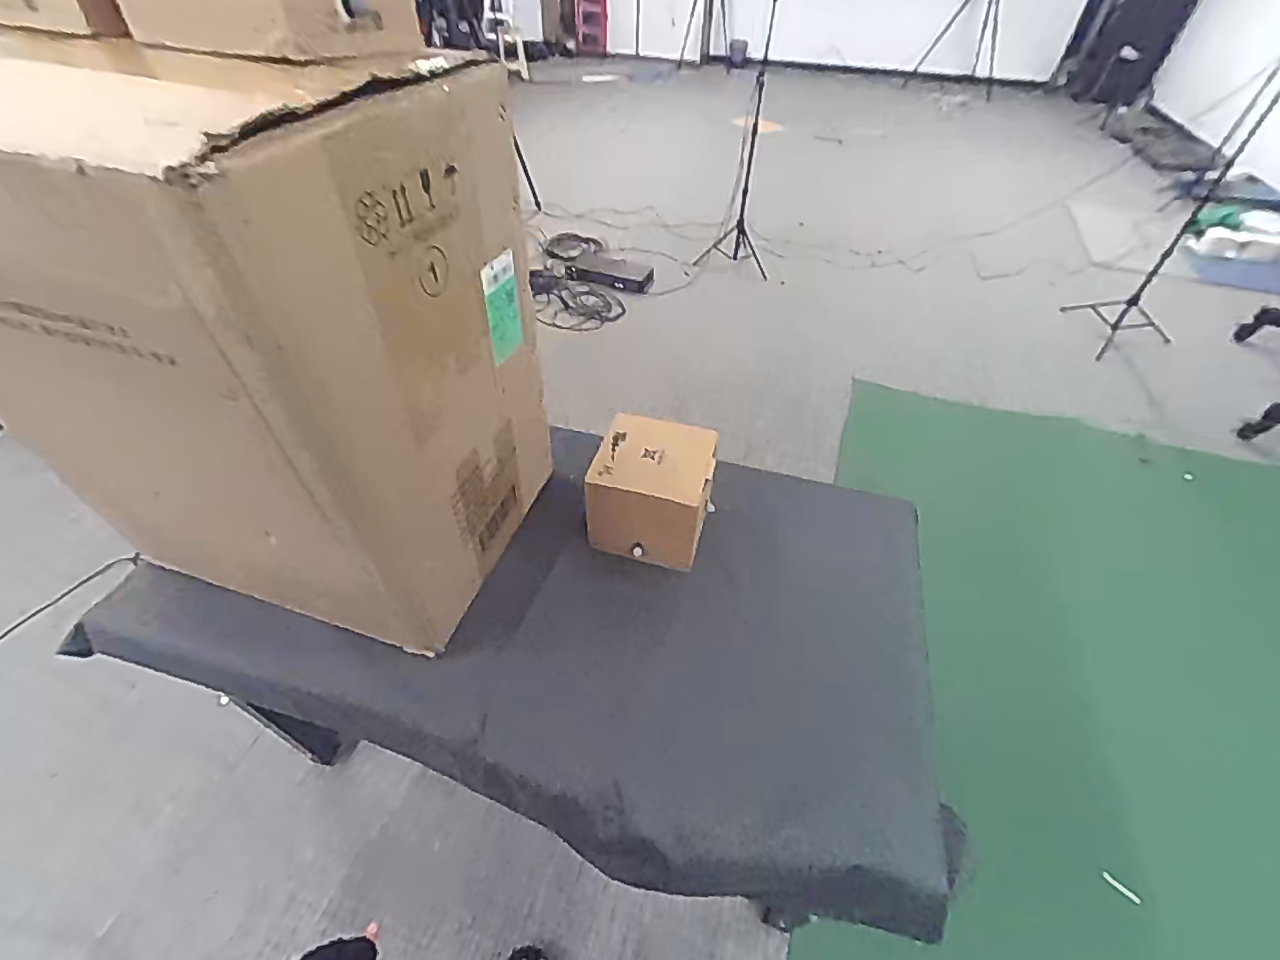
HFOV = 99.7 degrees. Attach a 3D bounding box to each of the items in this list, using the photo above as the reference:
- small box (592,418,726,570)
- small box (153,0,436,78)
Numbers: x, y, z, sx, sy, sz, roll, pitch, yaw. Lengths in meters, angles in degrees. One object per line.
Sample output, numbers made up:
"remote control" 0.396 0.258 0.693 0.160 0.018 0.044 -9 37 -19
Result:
"small box" 0.031 0.027 0.894 0.179 0.176 0.168 14 47 10
"small box" -0.307 -0.460 0.465 0.179 0.176 0.168 15 44 11
